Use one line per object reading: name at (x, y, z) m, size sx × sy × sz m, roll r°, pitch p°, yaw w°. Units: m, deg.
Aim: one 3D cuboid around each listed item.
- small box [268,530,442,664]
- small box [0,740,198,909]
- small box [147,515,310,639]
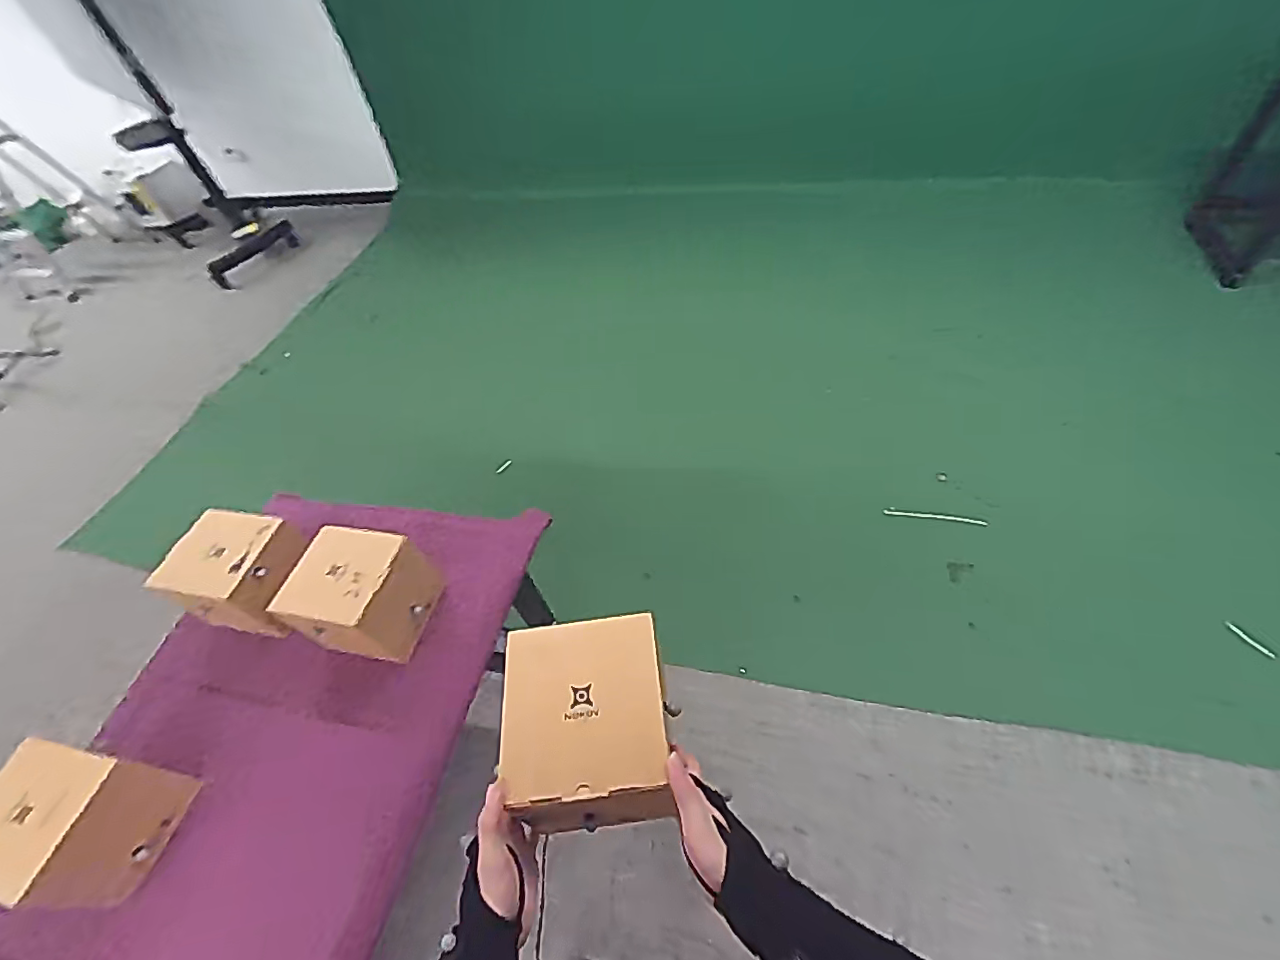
small box at (-0.490, 0.210, 0.958) m, size 0.179 × 0.176 × 0.168 m, roll 5°, pitch 53°, yaw 15°
small box at (-0.815, 0.499, 0.781) m, size 0.179 × 0.176 × 0.168 m, roll 6°, pitch 53°, yaw 13°
small box at (-0.743, 0.186, 1.023) m, size 0.179 × 0.176 × 0.168 m, roll 5°, pitch 53°, yaw 13°
